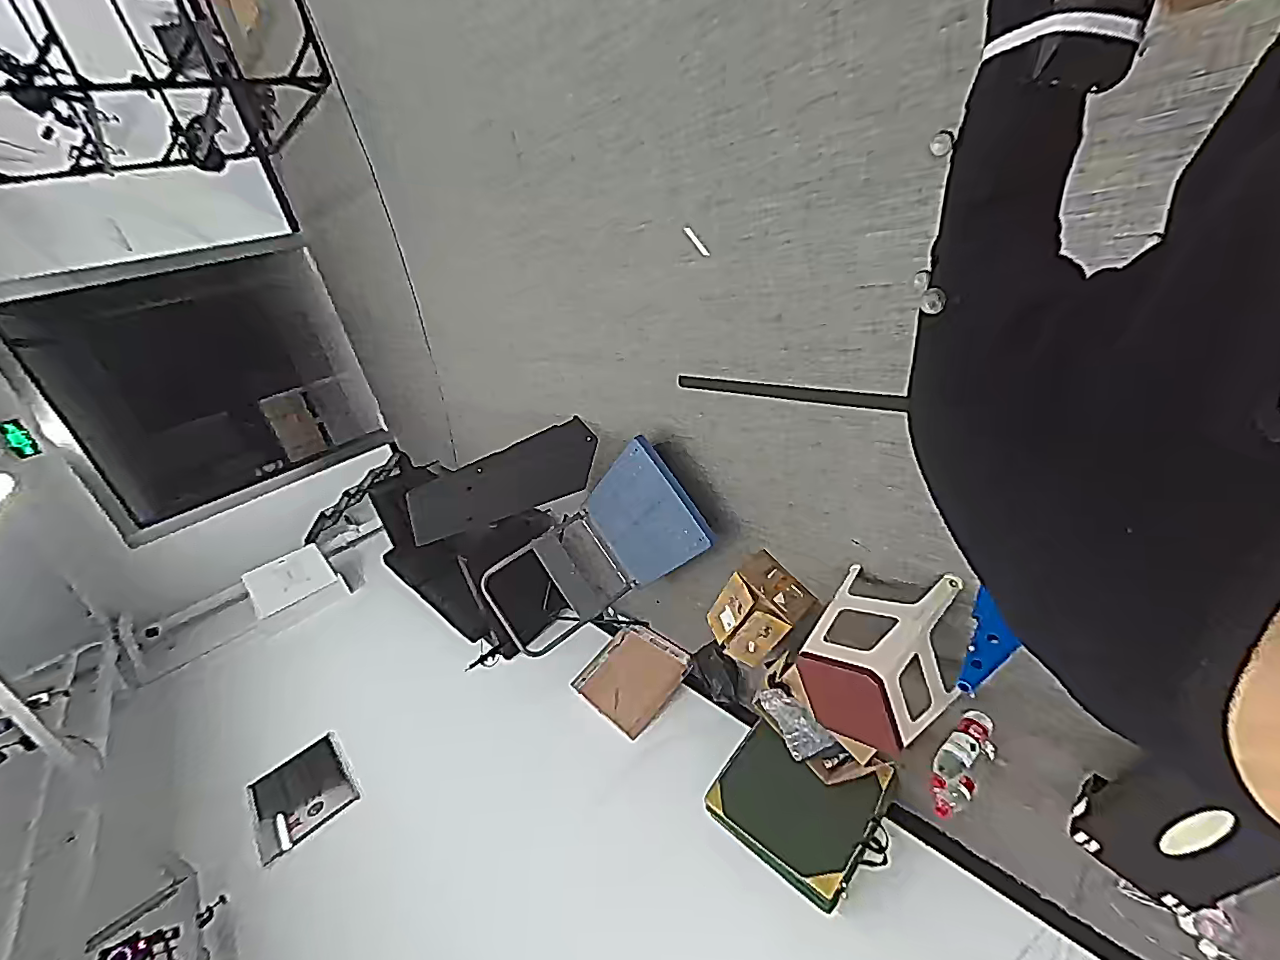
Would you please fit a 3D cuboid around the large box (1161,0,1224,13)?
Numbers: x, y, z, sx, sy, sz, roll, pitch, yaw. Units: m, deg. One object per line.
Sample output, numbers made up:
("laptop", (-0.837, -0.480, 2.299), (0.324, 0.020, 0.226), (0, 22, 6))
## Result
("large box", (0.520, -0.490, 0.237), (0.408, 0.320, 0.320), (12, 125, 42))
